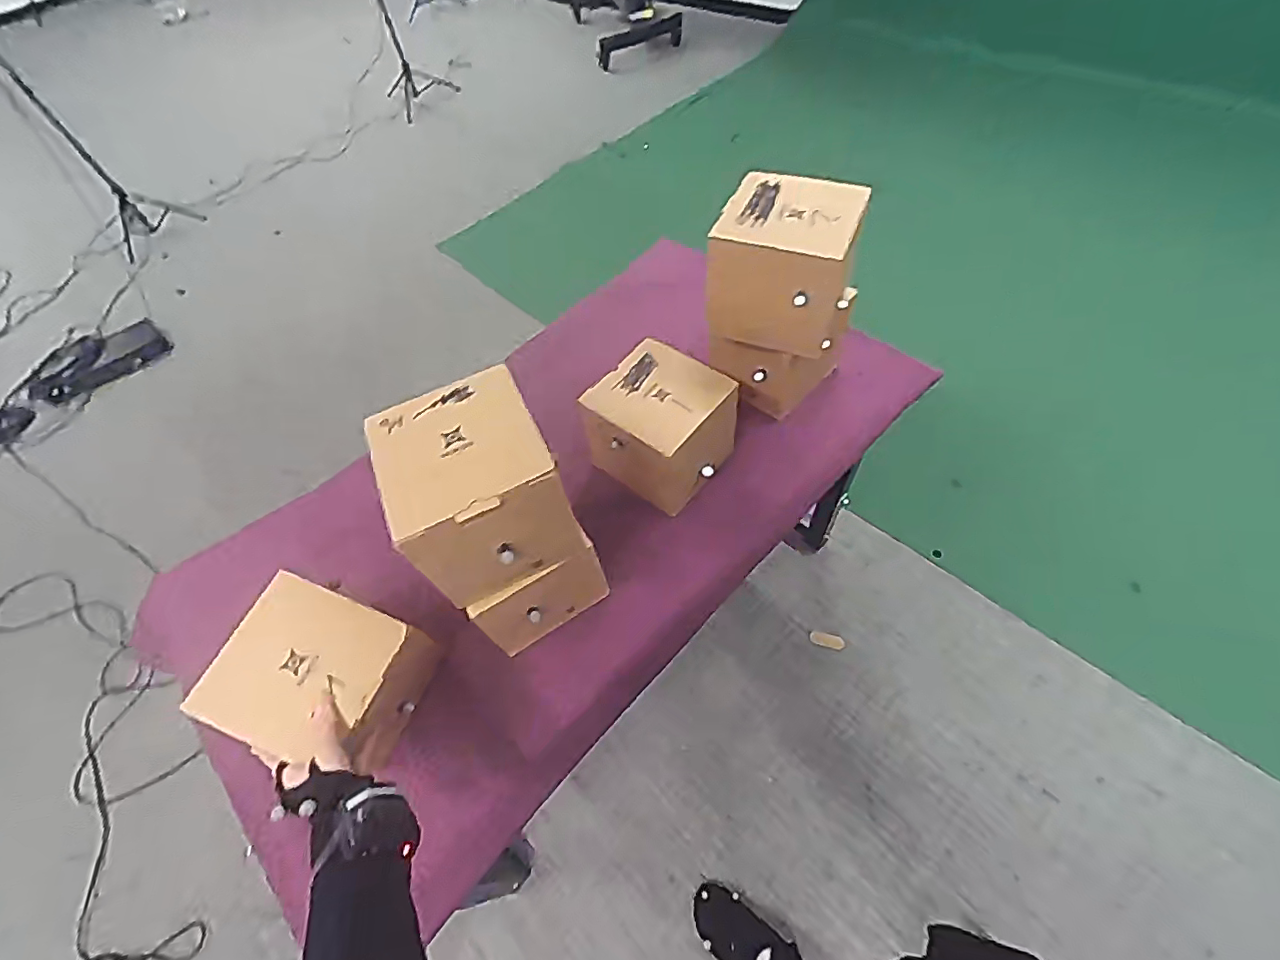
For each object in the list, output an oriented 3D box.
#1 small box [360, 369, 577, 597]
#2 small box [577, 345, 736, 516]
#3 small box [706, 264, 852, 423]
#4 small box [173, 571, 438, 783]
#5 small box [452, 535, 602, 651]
[{"bbox_3d":[-0.185,0.013,0.614,0.168,0.176,0.179,-24,57,-10],"label":"small box"},{"bbox_3d":[0.029,-0.074,0.849,0.179,0.176,0.168,33,65,24],"label":"small box"},{"bbox_3d":[0.233,-0.231,0.935,0.179,0.176,0.168,-40,61,-20],"label":"small box"},{"bbox_3d":[-0.377,0.237,0.649,0.179,0.176,0.168,24,65,5],"label":"small box"},{"bbox_3d":[-0.169,0.113,0.744,0.168,0.176,0.179,-30,57,-14],"label":"small box"}]
